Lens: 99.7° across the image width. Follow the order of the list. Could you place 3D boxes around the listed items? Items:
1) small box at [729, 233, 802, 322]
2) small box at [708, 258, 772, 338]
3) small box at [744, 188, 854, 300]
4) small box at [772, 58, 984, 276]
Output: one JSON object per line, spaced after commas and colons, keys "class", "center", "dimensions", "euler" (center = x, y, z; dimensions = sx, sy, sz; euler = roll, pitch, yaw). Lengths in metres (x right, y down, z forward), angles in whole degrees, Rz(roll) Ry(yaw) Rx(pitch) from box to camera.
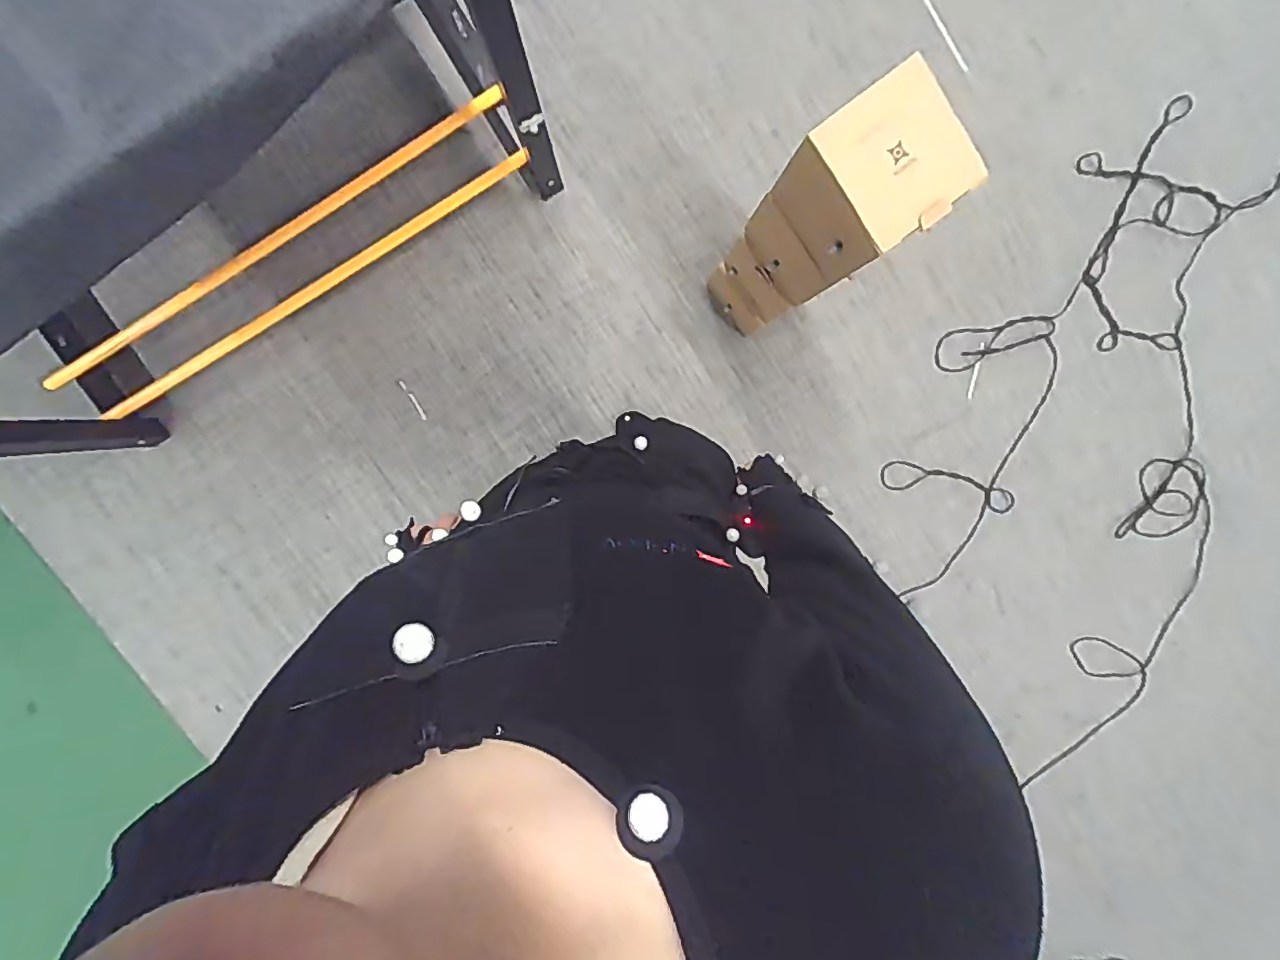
{"class": "small box", "center": [0.292, -0.438, 1.069], "dimensions": [0.179, 0.176, 0.168], "euler": [-37, 96, 1]}
{"class": "small box", "center": [0.276, -0.449, 1.233], "dimensions": [0.179, 0.176, 0.168], "euler": [-38, 96, 3]}
{"class": "small box", "center": [0.302, -0.423, 0.907], "dimensions": [0.168, 0.176, 0.179], "euler": [-37, 97, 2]}
{"class": "small box", "center": [0.312, -0.406, 0.745], "dimensions": [0.168, 0.176, 0.179], "euler": [-37, 96, 1]}
